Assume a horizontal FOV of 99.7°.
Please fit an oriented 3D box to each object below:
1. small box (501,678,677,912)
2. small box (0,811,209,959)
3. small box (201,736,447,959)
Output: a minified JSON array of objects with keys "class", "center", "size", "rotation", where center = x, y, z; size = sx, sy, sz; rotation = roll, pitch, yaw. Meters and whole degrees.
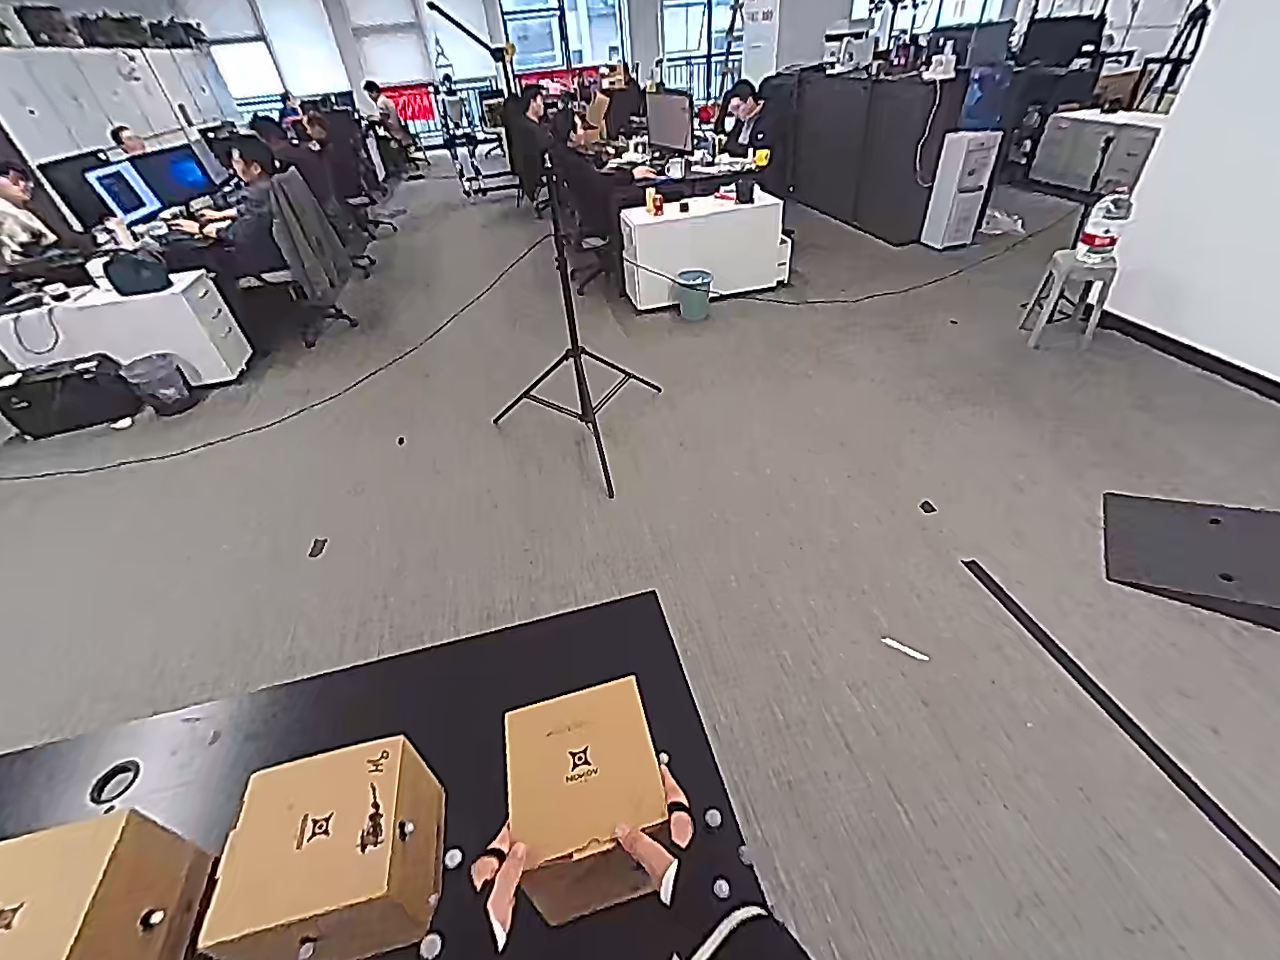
[{"class":"small box","center":[-0.060,0.378,0.648],"size":[0.168,0.176,0.179],"rotation":[-14,36,-7]},{"class":"small box","center":[-0.628,0.502,0.591],"size":[0.179,0.176,0.168],"rotation":[-13,39,-9]},{"class":"small box","center":[-0.346,0.440,0.636],"size":[0.179,0.176,0.168],"rotation":[-12,40,-7]}]
